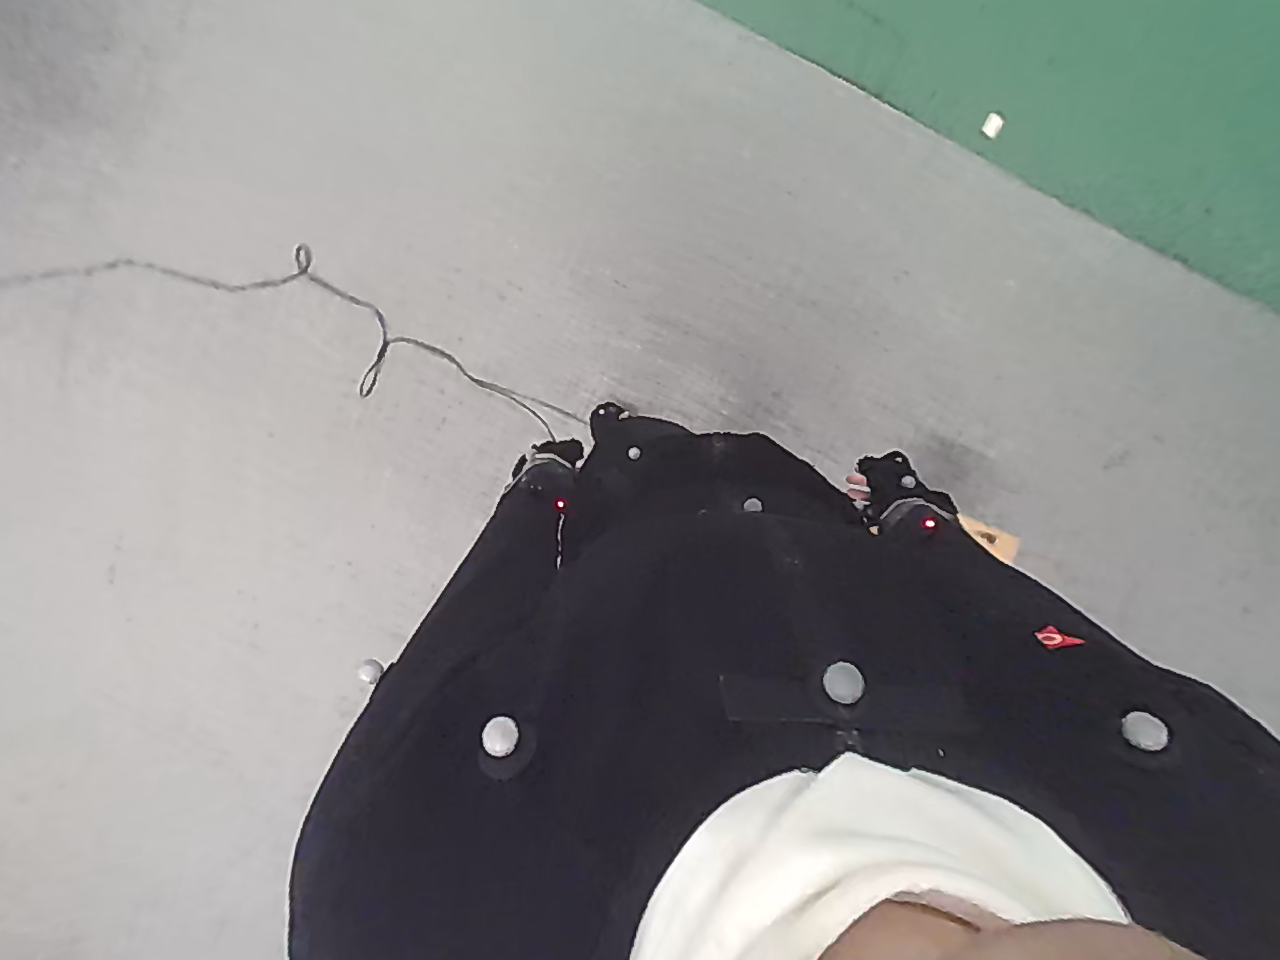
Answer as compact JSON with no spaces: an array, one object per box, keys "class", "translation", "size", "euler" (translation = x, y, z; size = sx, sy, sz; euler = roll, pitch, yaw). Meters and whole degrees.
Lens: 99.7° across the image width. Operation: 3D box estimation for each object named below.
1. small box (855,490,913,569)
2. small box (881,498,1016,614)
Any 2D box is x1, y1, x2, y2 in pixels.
[{"class":"small box","translation":[0.664,0.142,1.345],"size":[0.168,0.176,0.179],"euler":[26,96,-2]},{"class":"small box","translation":[0.659,0.157,1.182],"size":[0.168,0.176,0.179],"euler":[23,97,-2]}]
